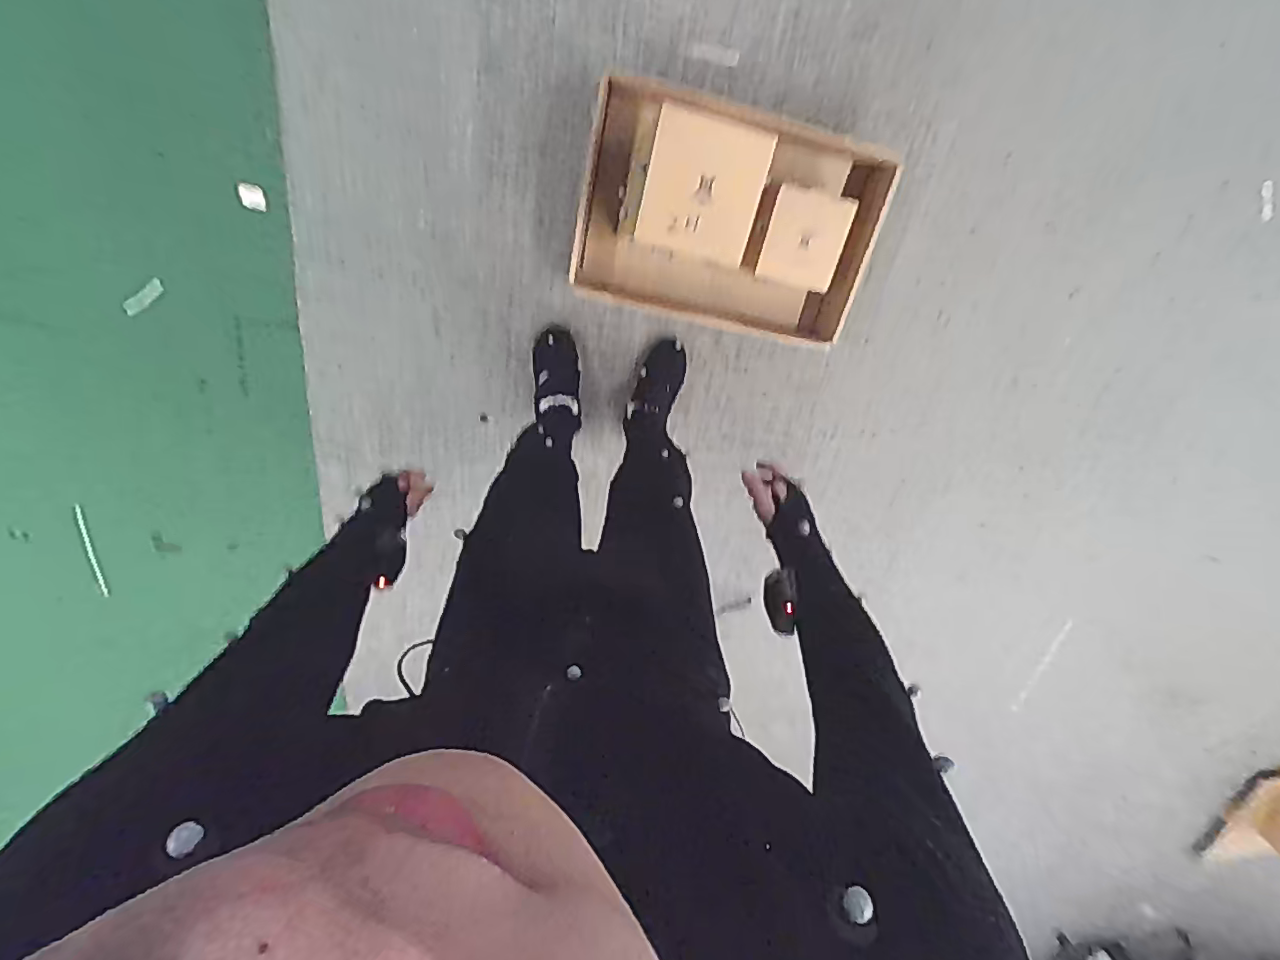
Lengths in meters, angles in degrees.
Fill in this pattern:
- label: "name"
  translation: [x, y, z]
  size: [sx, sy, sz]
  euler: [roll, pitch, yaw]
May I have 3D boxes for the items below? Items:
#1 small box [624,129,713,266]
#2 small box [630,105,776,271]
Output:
- label: "small box"
  translation: [0.067, -0.504, 0.980]
  size: [0.168, 0.176, 0.179]
  euler: [10, 114, -9]
- label: "small box"
  translation: [0.083, -0.437, 0.830]
  size: [0.168, 0.176, 0.179]
  euler: [11, 114, -9]
